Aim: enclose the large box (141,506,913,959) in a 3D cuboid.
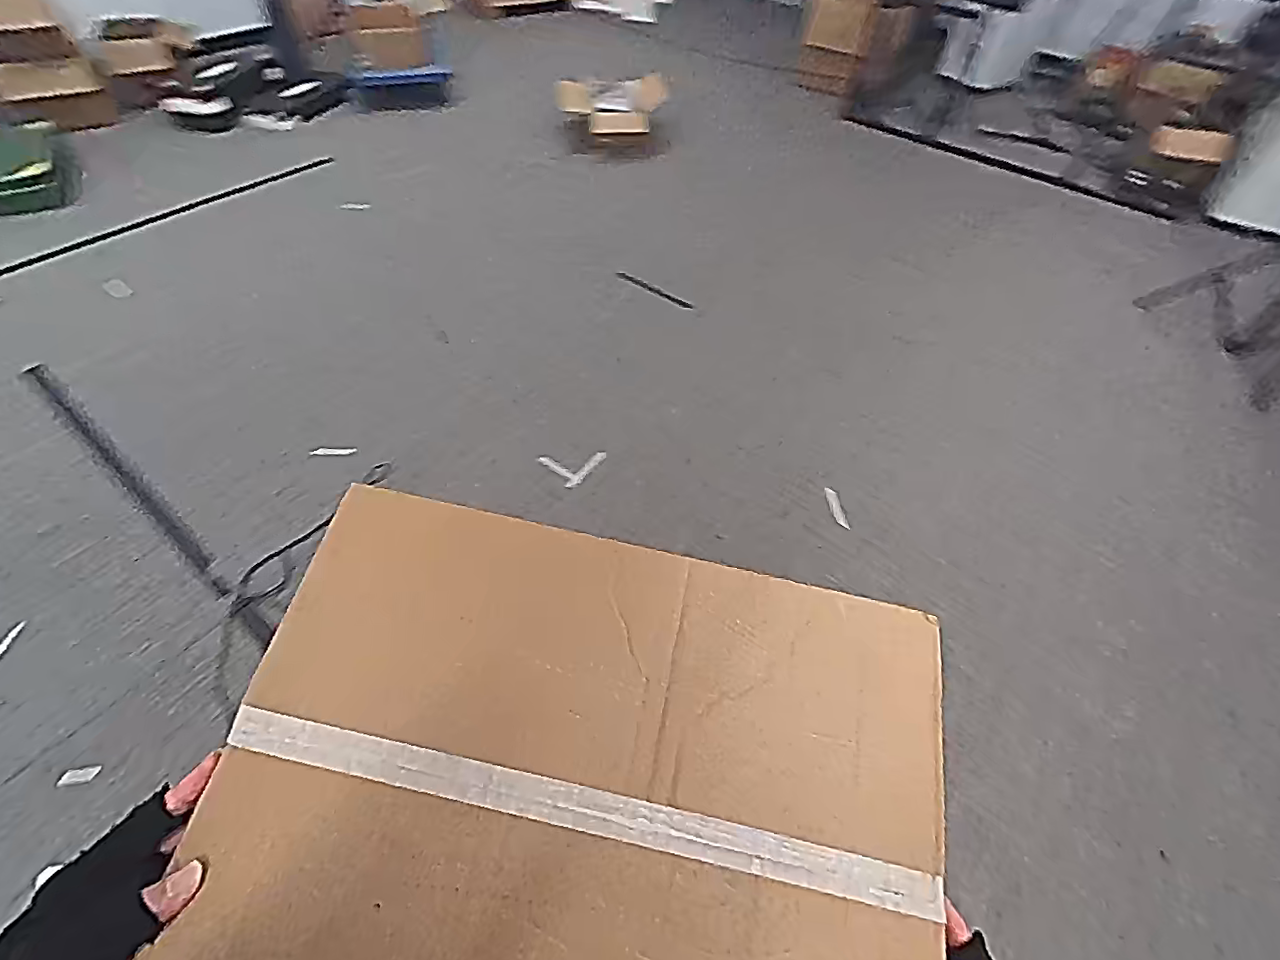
[{"bbox_3d":[-0.049,0.249,0.448,0.408,0.320,0.320,11,67,2],"label":"large box"}]
